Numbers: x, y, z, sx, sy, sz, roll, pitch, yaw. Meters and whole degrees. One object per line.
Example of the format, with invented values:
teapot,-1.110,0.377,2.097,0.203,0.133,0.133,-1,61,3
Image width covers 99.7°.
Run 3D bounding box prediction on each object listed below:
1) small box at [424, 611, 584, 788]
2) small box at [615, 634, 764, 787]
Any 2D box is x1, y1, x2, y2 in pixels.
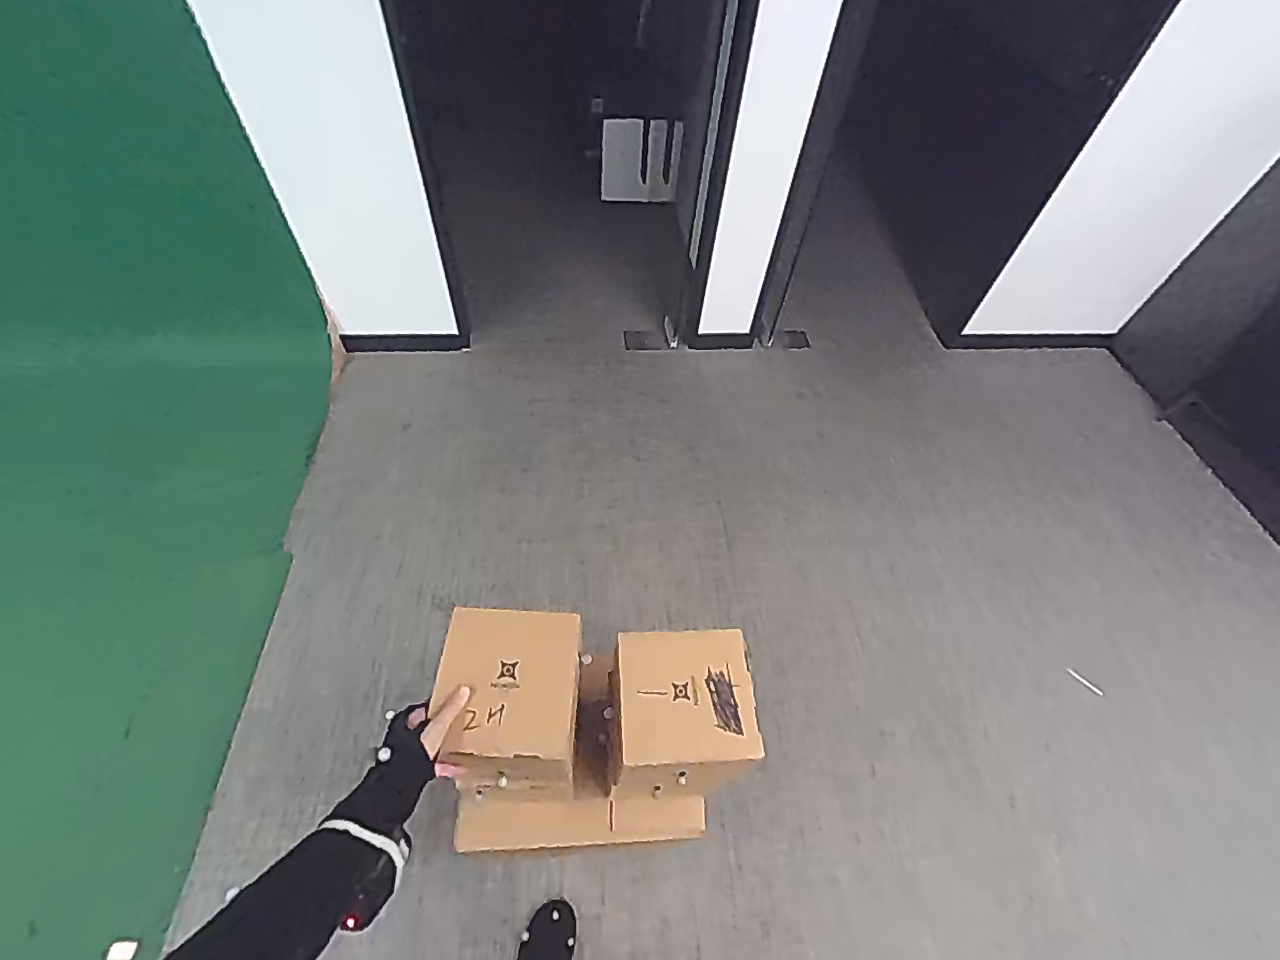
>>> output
small box,-0.166,0.296,0.722,0.168,0.176,0.179,4,53,-2
small box,0.057,0.326,0.757,0.179,0.176,0.168,2,54,-4
